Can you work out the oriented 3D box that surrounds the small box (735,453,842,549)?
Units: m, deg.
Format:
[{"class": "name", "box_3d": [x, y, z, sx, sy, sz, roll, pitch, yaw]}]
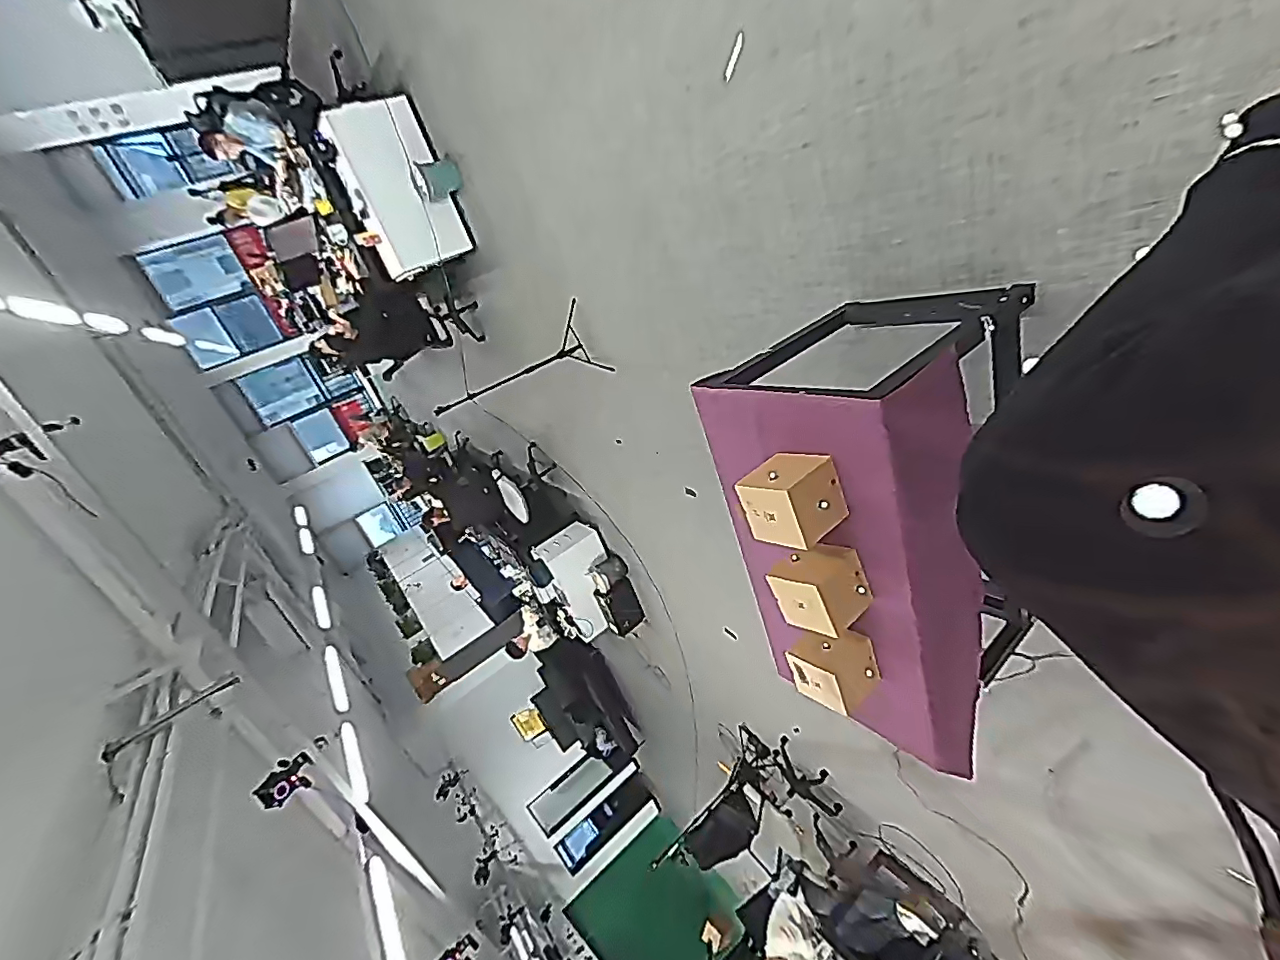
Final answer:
[{"class": "small box", "box_3d": [0.375, 0.044, 1.337, 0.179, 0.176, 0.168, 10, 128, 59]}]

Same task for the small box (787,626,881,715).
[{"class": "small box", "box_3d": [0.568, 0.537, 1.579, 0.179, 0.176, 0.168, 12, 131, 56]}]

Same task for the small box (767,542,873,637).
[{"class": "small box", "box_3d": [0.479, 0.281, 1.436, 0.179, 0.176, 0.168, 3, 124, 61]}]
